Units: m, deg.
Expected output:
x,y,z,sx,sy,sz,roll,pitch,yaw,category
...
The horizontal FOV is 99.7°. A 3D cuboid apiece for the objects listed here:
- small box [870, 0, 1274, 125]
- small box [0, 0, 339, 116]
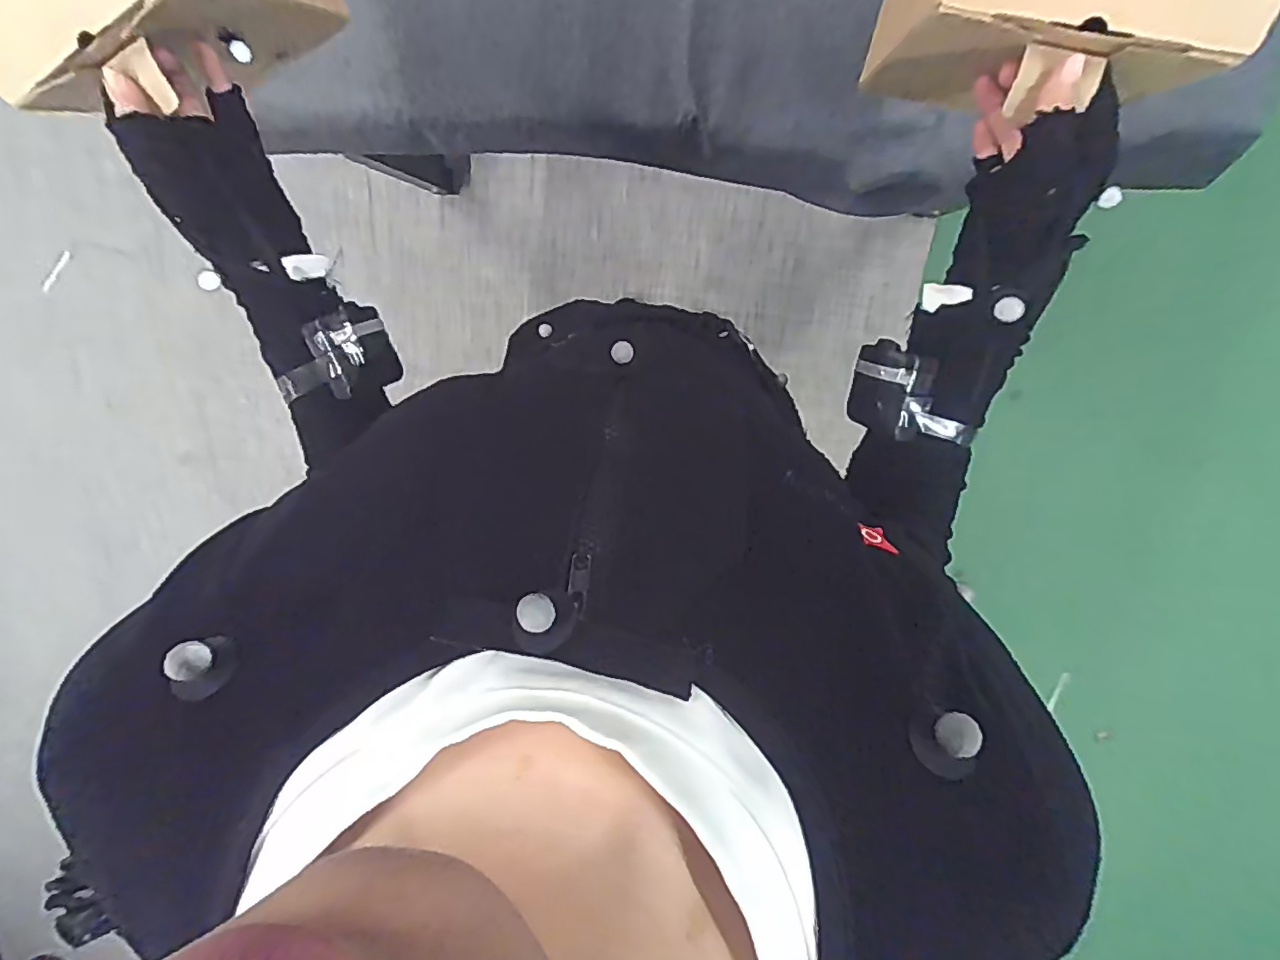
x,y,z,sx,sy,sz,roll,pitch,yaw,category
0.261,-0.339,0.327,0.168,0.176,0.179,12,115,1,small box
-0.341,-0.361,0.341,0.168,0.176,0.179,-16,118,18,small box
